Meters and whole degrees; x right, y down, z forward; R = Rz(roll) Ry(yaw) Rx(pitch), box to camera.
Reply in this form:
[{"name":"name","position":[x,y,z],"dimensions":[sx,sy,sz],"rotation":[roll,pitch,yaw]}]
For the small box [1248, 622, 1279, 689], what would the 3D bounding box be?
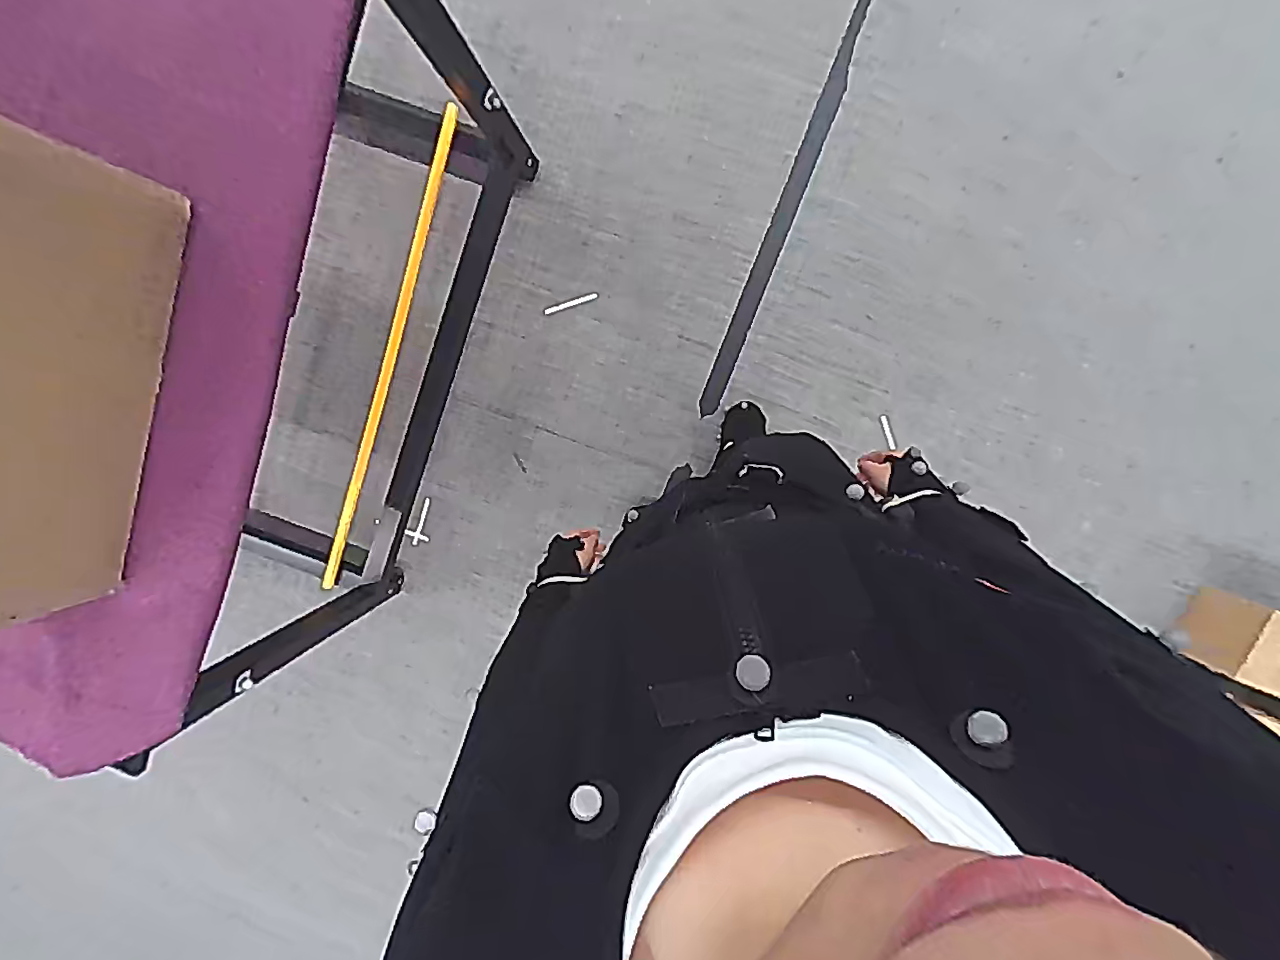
[{"name":"small box","position":[1.599,0.441,1.250],"dimensions":[0.179,0.176,0.168],"rotation":[19,99,0]}]
